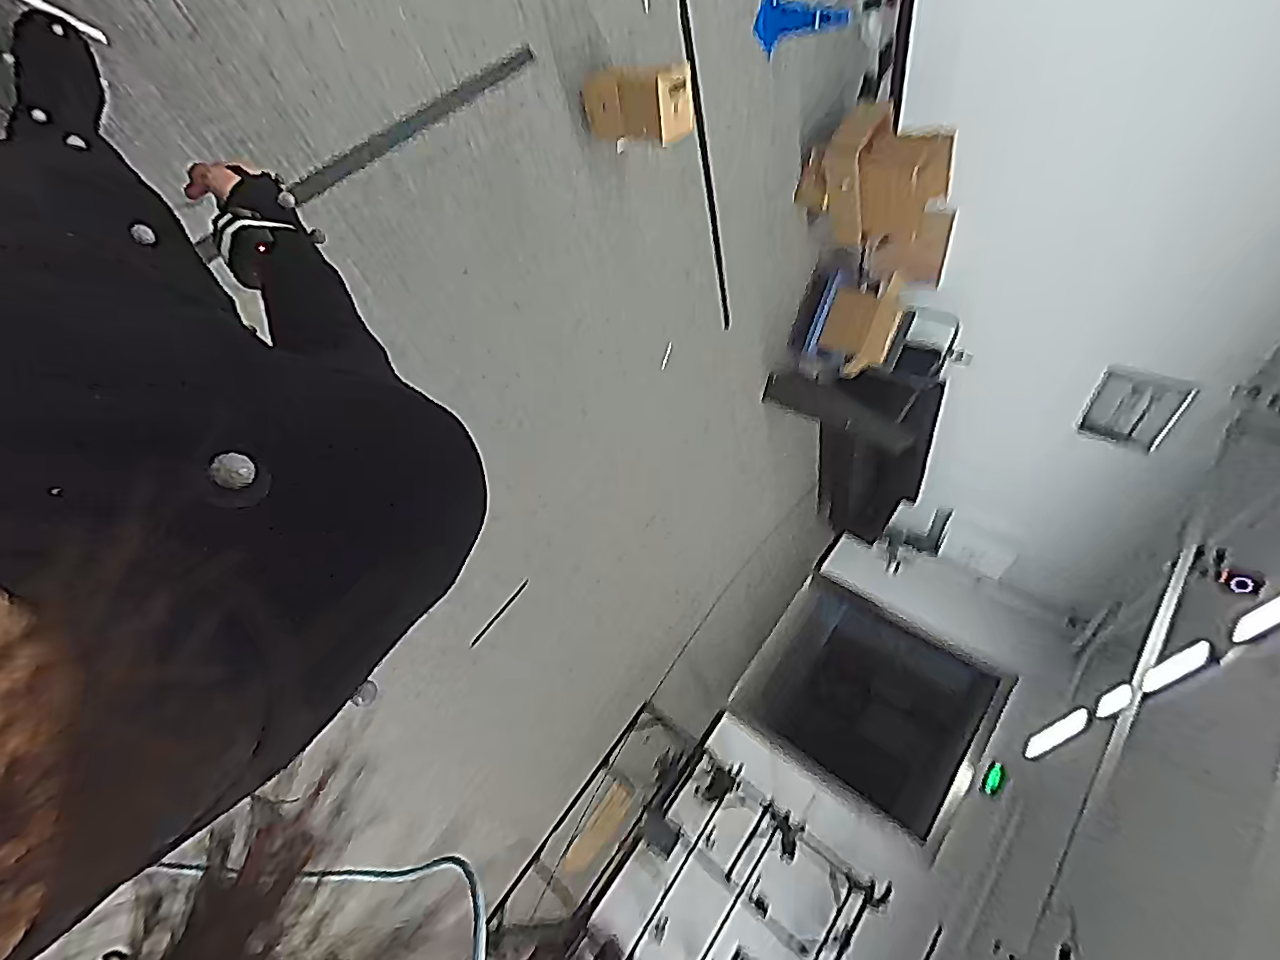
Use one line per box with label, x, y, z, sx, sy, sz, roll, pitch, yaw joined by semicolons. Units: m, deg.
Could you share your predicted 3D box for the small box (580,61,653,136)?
small box;-0.085;-1.295;1.837;0.179;0.176;0.168;-47;146;-23
